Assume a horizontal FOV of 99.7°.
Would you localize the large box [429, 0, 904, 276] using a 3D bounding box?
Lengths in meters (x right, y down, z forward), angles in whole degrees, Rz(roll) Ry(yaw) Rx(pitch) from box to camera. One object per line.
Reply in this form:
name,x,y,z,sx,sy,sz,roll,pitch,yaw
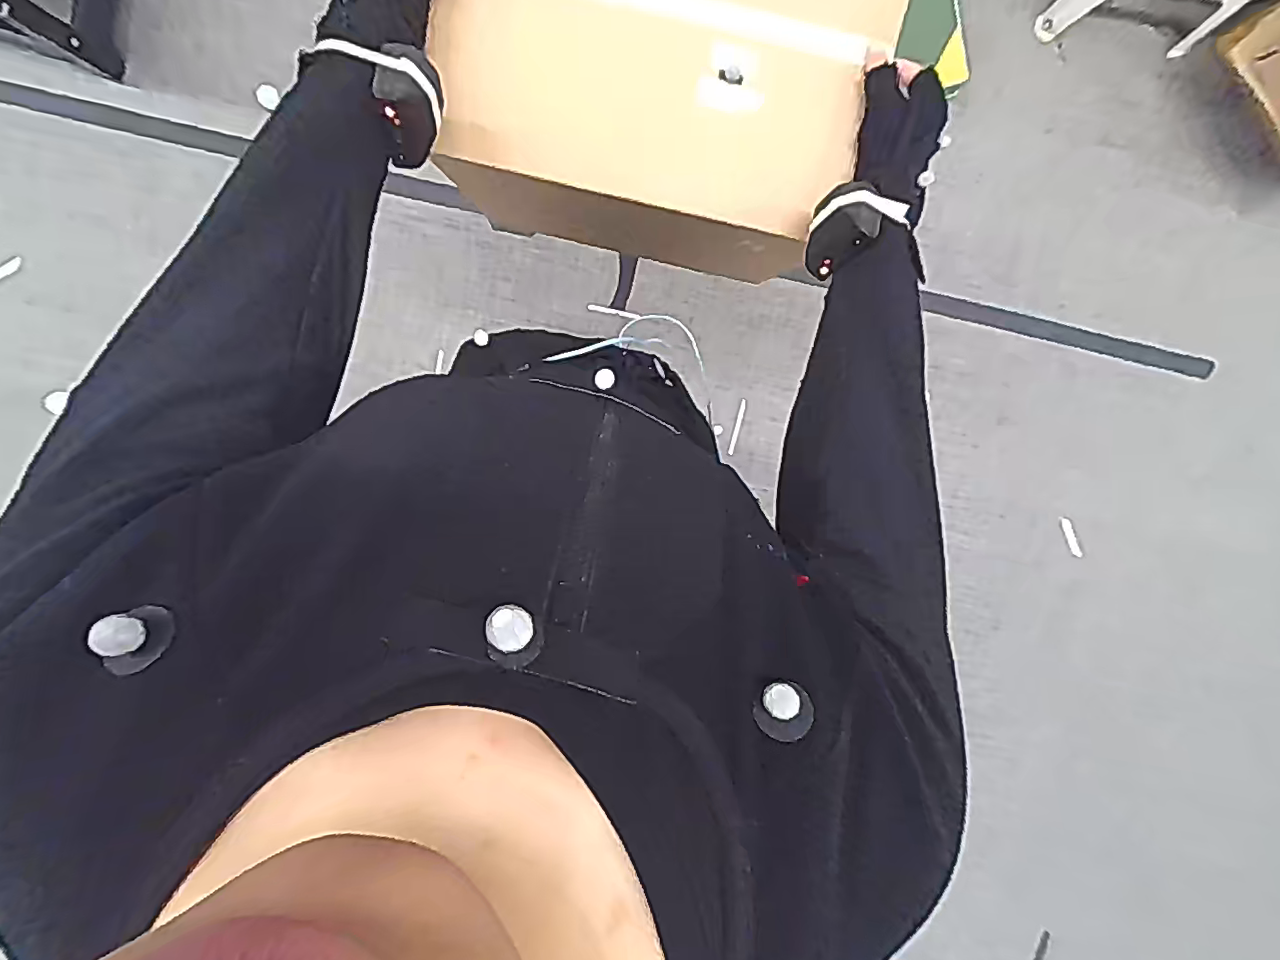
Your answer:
large box,0.022,-0.450,0.619,0.408,0.320,0.320,12,104,-5
